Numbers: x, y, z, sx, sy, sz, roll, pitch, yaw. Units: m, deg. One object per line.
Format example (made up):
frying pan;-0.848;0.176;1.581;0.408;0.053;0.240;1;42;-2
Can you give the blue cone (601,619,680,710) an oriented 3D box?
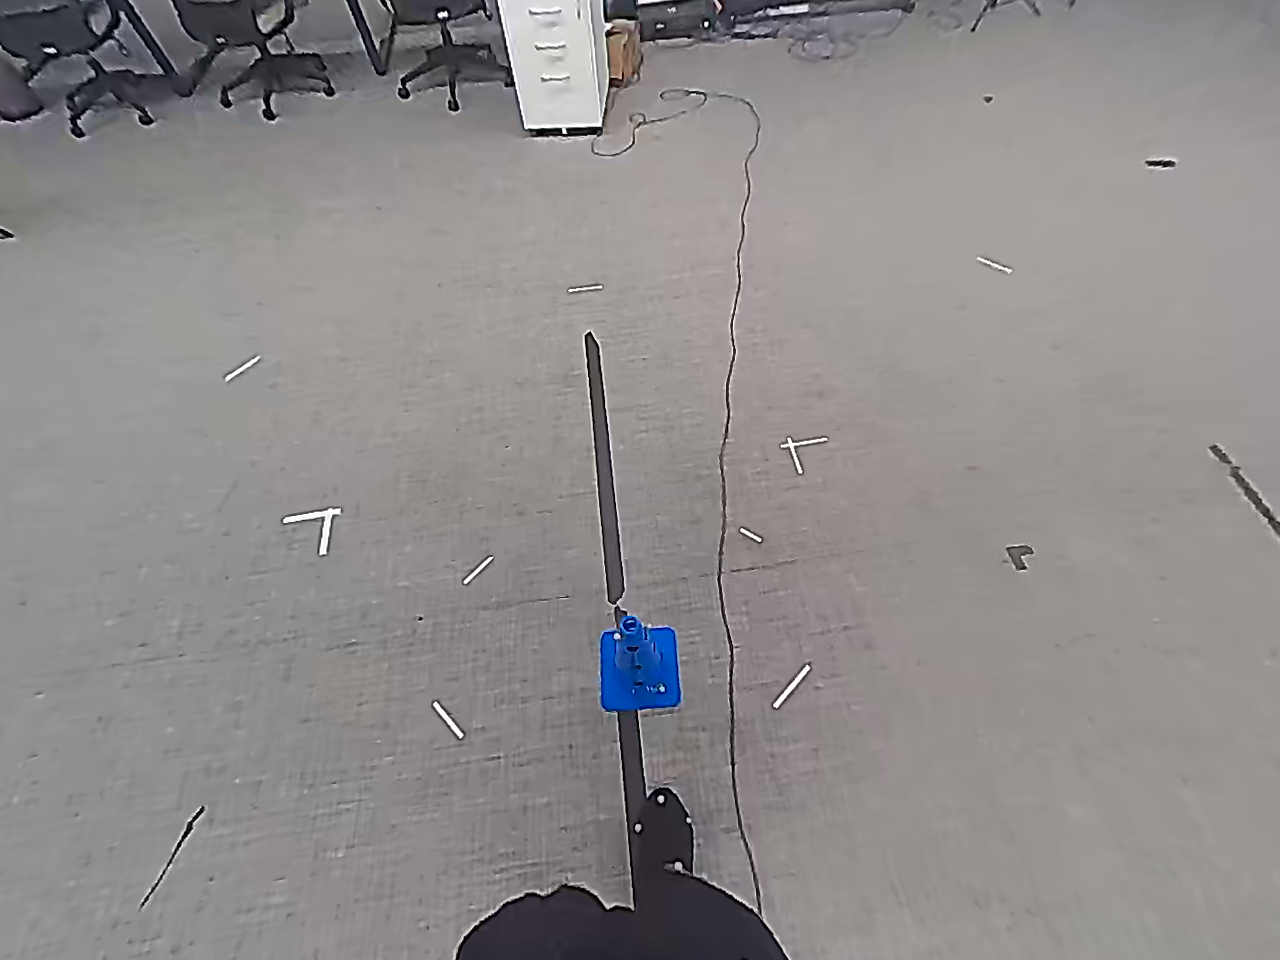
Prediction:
blue cone;-0.009;0.382;1.221;0.193;0.380;0.192;-4;57;0
